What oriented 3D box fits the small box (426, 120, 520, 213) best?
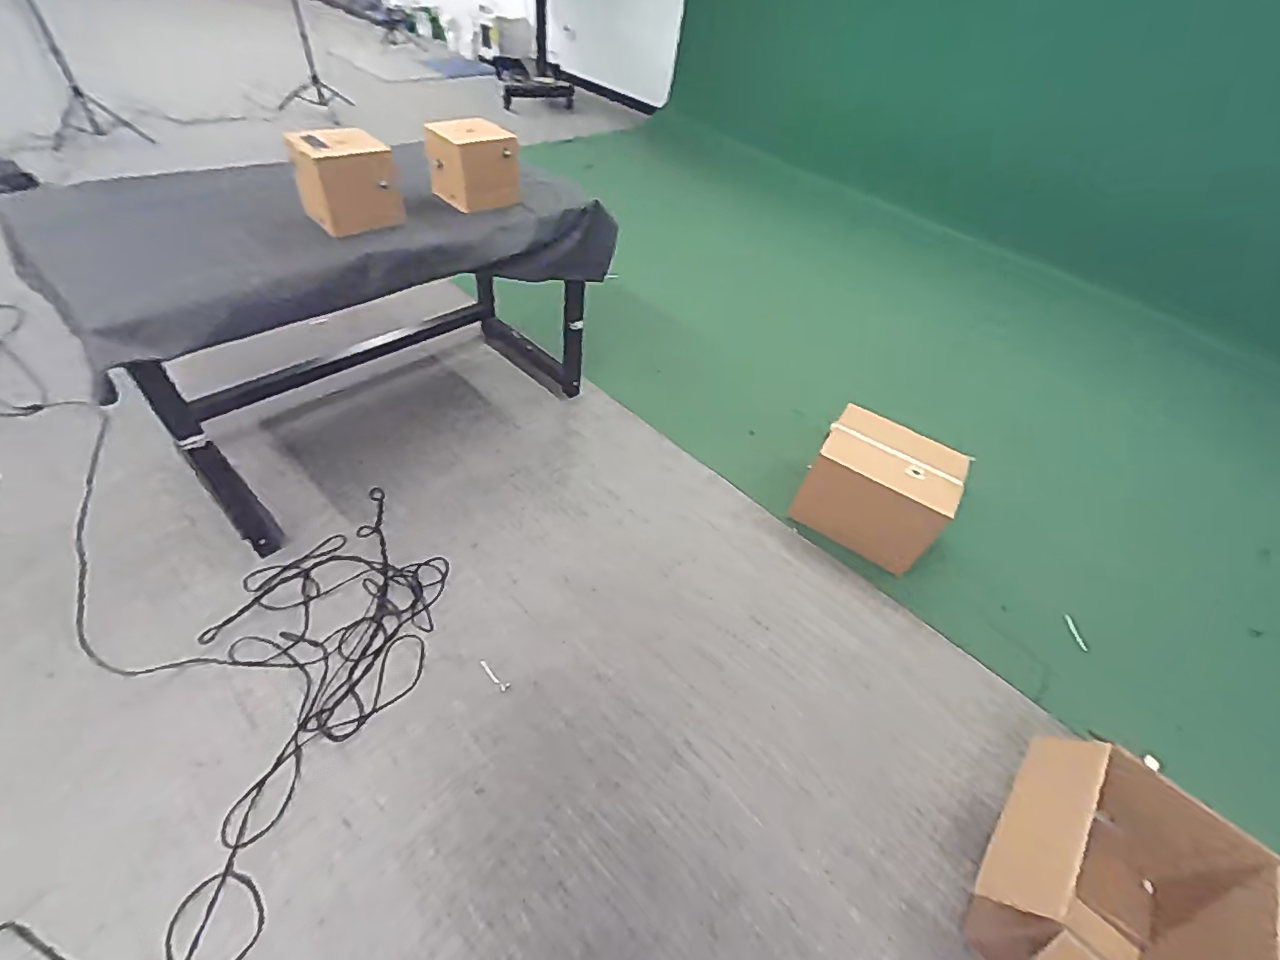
[{"bbox_3d":[-0.434,-0.829,1.434,0.179,0.176,0.168,-32,59,-33],"label":"small box"}]
